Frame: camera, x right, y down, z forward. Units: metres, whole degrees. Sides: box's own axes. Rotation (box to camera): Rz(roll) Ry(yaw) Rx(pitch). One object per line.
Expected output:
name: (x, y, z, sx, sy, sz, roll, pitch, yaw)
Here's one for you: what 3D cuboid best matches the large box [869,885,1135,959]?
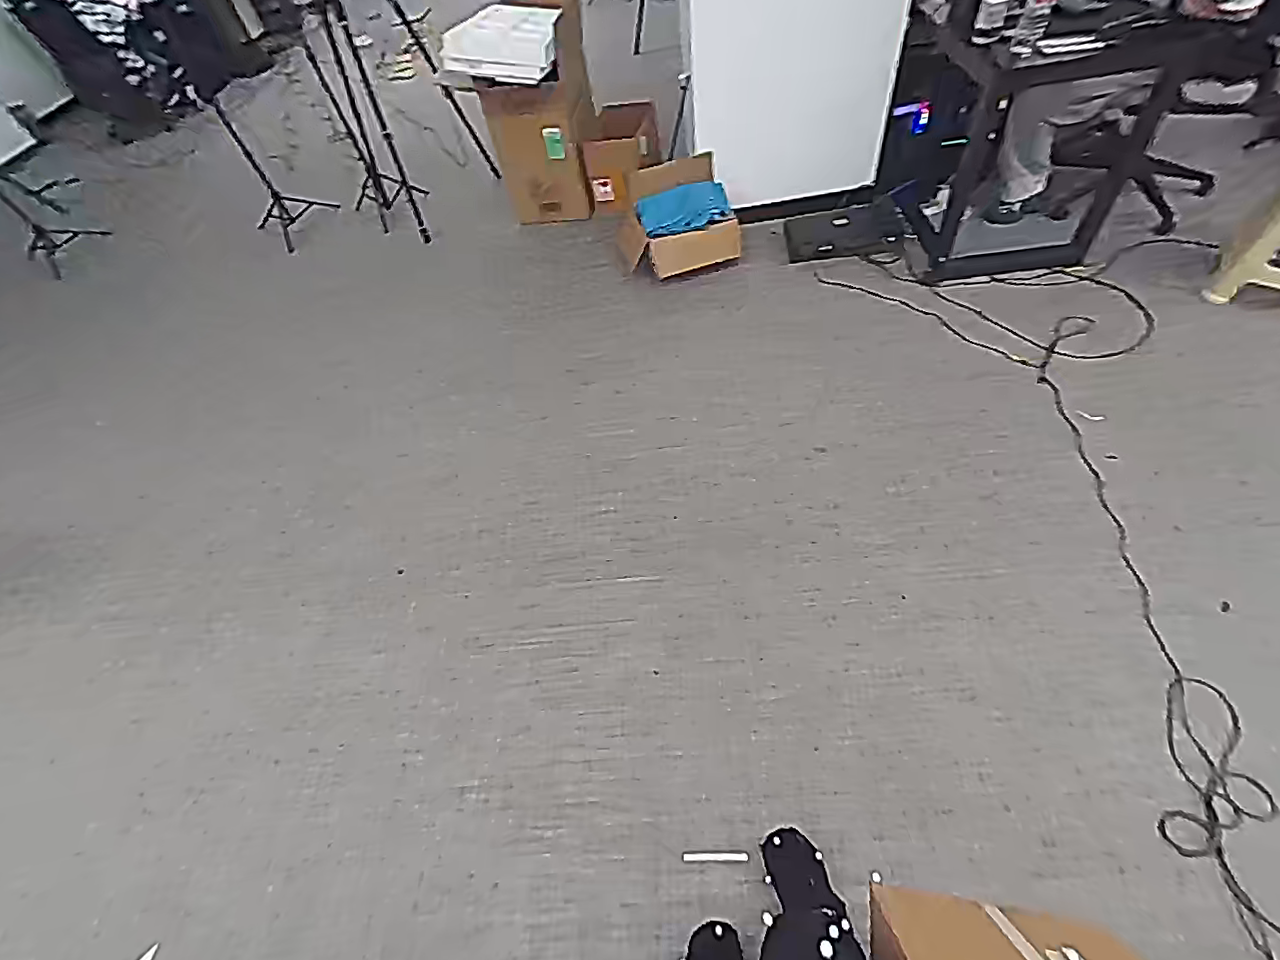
large box: (0.454, 0.722, 0.572, 0.320, 0.408, 0.320, 5, 77, 10)
